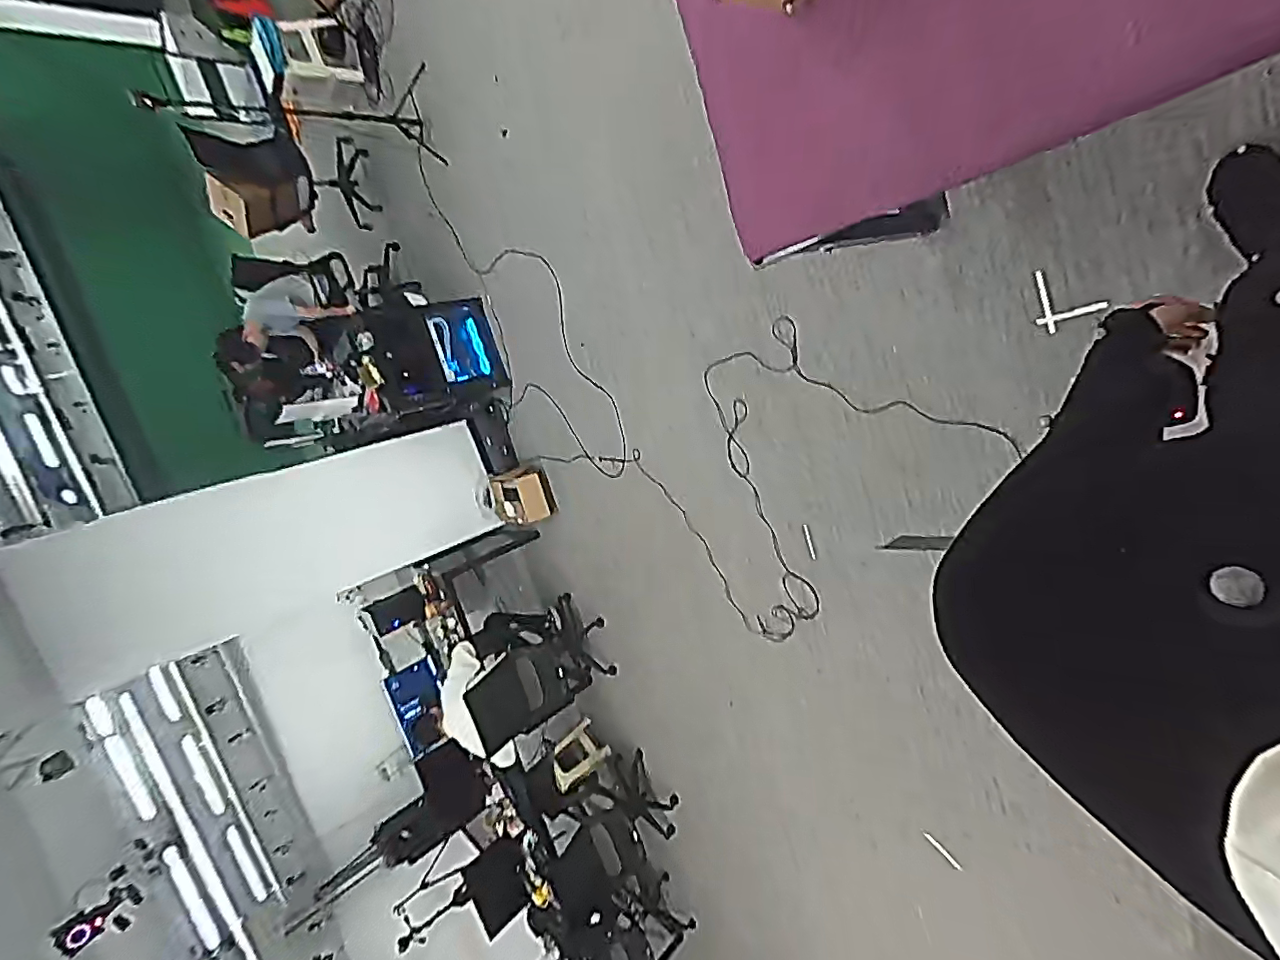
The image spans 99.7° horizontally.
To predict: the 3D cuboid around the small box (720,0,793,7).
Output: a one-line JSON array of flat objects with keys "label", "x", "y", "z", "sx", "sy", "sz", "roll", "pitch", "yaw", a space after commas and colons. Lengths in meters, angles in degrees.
[{"label": "small box", "x": 0.191, "y": -0.783, "z": 0.724, "sx": 0.168, "sy": 0.176, "sz": 0.179, "roll": 1, "pitch": 110, "yaw": 50}]
